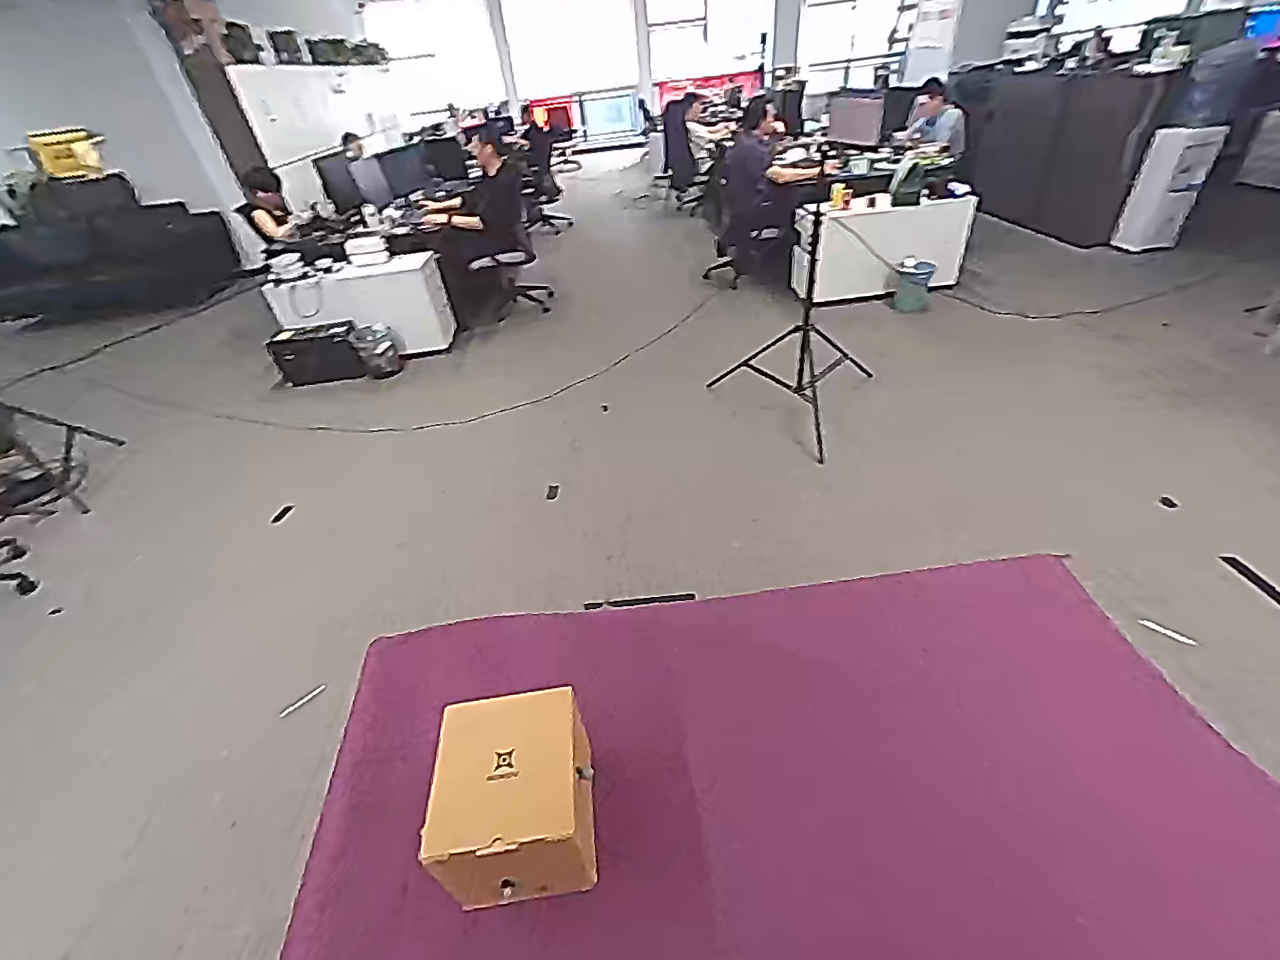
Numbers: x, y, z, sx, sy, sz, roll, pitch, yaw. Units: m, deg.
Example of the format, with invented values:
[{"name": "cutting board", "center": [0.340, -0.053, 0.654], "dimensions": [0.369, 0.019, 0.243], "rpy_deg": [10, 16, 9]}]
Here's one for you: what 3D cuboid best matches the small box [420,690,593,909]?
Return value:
[{"name": "small box", "center": [-0.154, 0.398, 0.680], "dimensions": [0.168, 0.176, 0.179], "rpy_deg": [-8, 39, -3]}]
